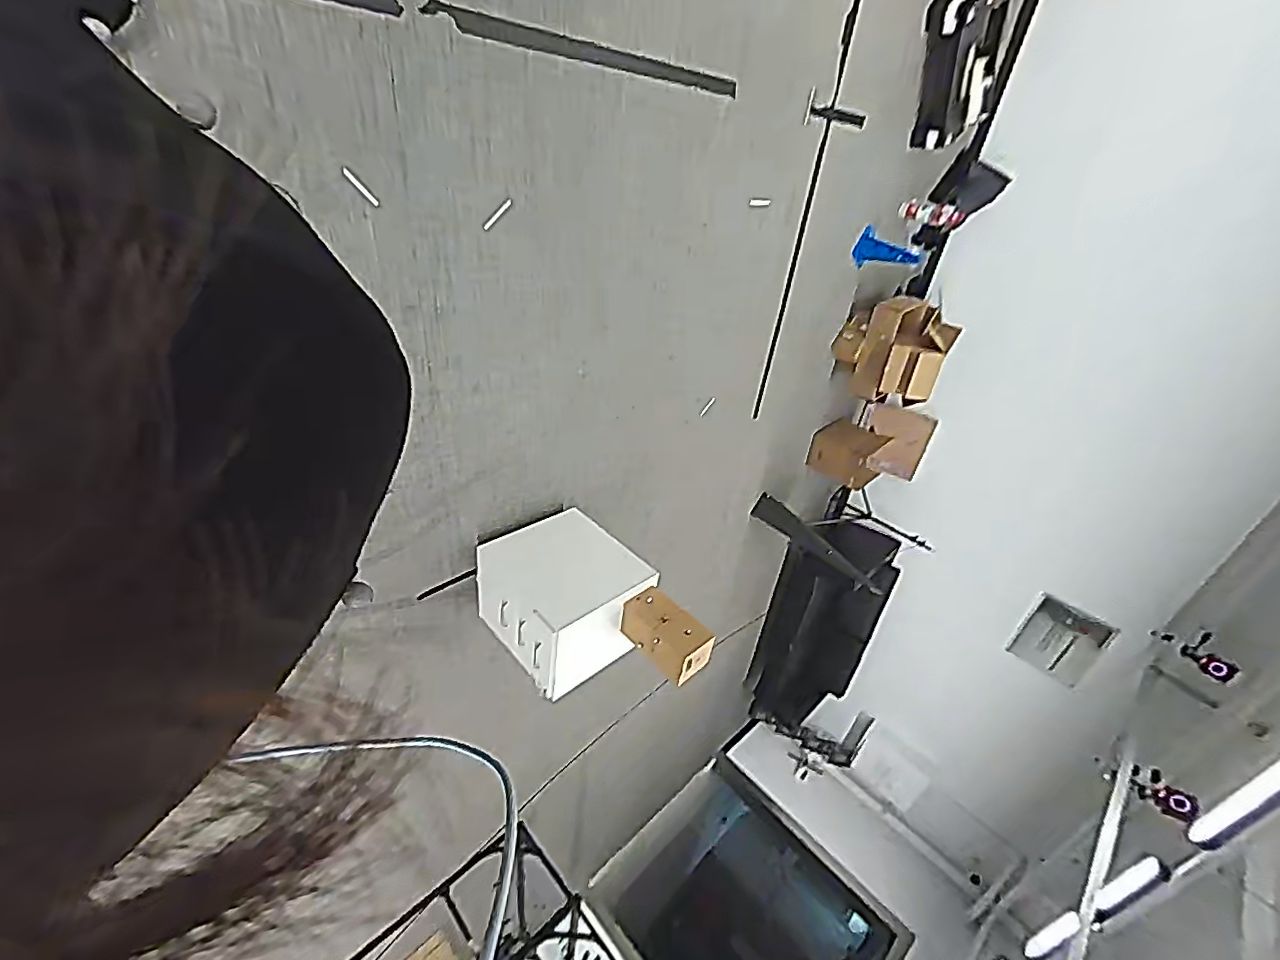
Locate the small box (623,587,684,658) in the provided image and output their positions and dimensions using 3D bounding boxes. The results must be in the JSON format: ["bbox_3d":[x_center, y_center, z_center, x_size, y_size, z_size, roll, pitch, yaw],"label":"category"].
[{"bbox_3d":[0.051,0.563,2.151,0.168,0.176,0.179,-23,134,-38],"label":"small box"}]

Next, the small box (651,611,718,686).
[{"bbox_3d":[0.164,0.636,2.056,0.179,0.176,0.168,-23,135,-39],"label":"small box"}]
